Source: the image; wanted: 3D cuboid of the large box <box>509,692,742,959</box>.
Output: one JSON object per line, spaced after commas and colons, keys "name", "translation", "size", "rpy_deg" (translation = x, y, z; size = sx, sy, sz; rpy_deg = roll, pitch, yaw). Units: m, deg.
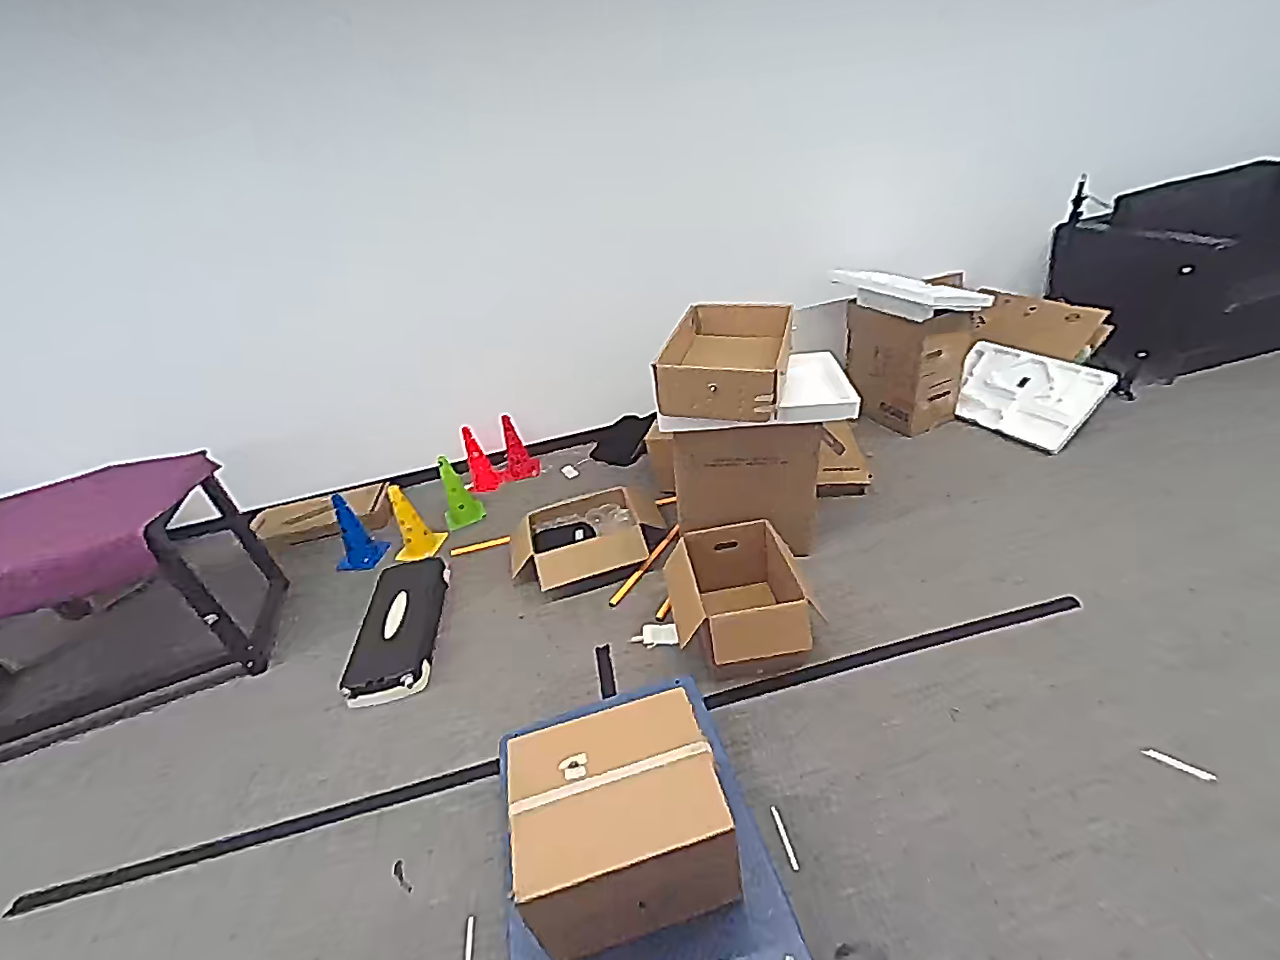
{"name": "large box", "translation": [-0.034, 0.730, 1.155], "size": [0.408, 0.320, 0.320], "rpy_deg": [-16, 32, -7]}
